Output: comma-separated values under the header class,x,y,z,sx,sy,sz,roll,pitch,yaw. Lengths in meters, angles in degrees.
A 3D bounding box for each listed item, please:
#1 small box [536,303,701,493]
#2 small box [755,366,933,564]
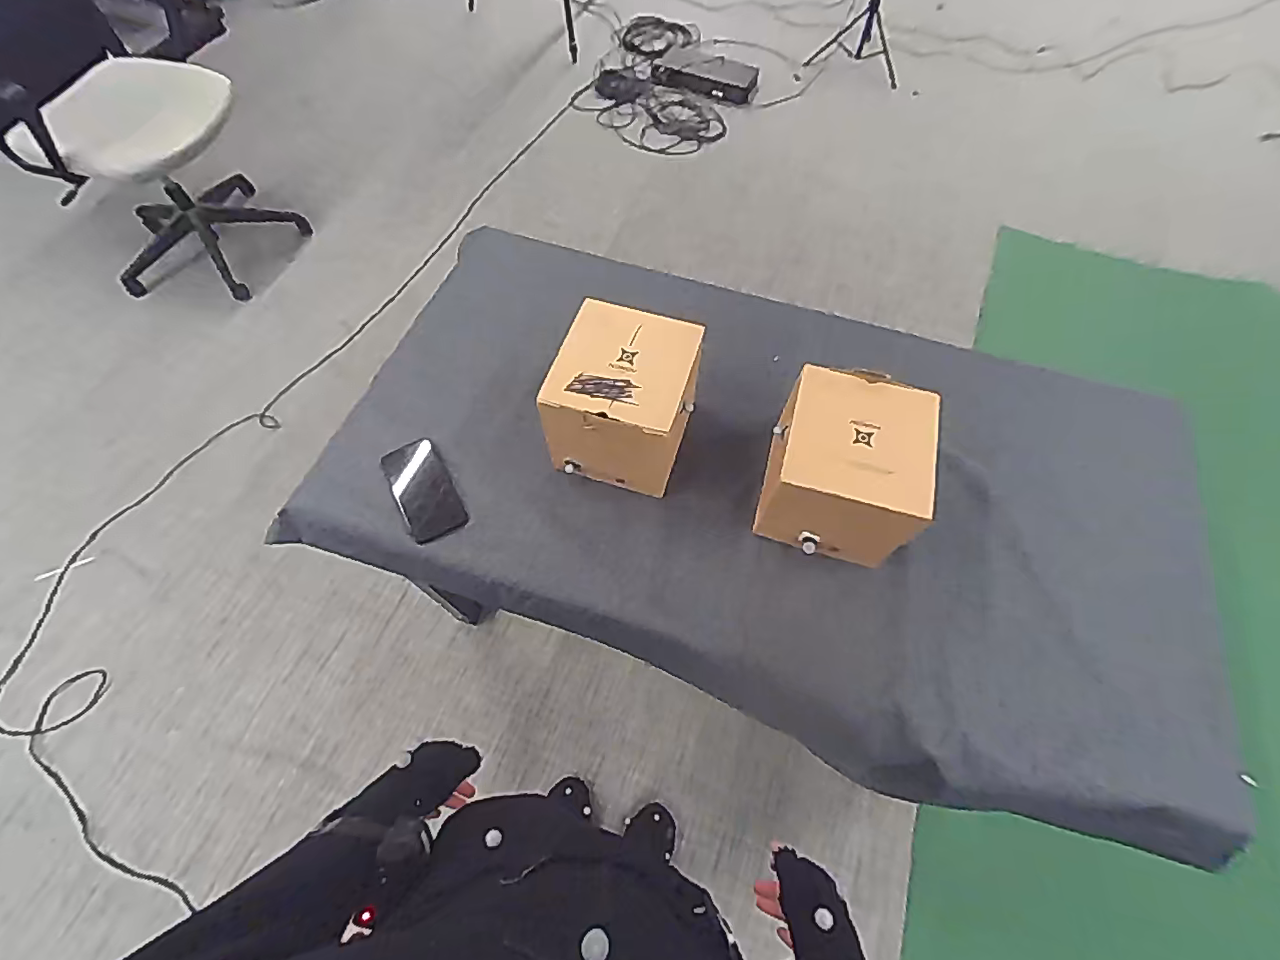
class,x,y,z,sx,sy,sz,roll,pitch,yaw
small box,-0.023,-0.105,0.741,0.168,0.176,0.179,15,62,7
small box,0.255,-0.014,0.701,0.168,0.176,0.179,14,64,8
